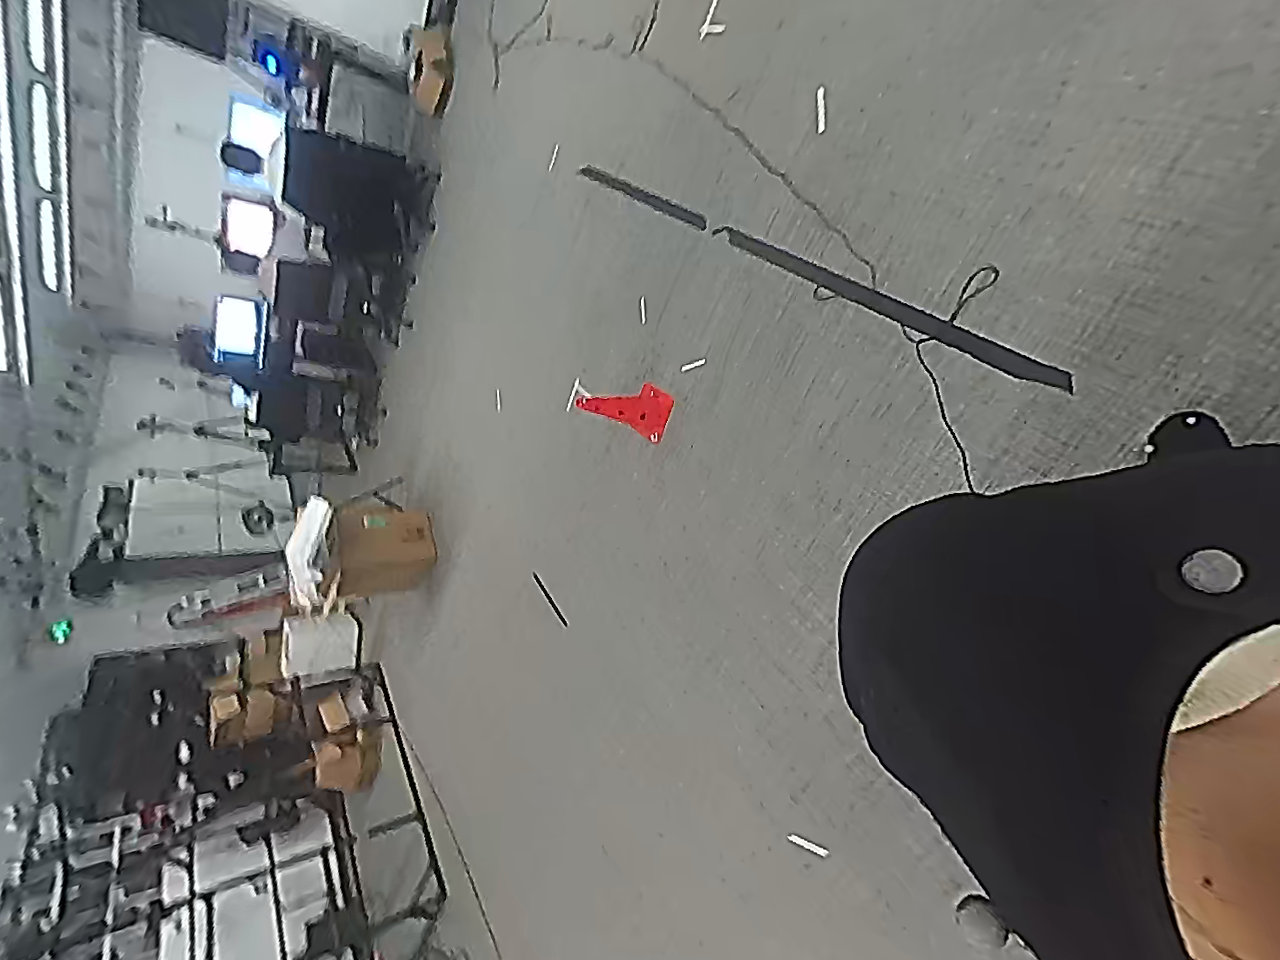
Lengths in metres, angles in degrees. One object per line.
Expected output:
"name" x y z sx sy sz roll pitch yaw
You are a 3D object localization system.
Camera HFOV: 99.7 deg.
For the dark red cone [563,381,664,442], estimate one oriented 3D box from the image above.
"dark red cone" -0.114 -0.280 2.025 0.202 0.394 0.201 38 116 43
